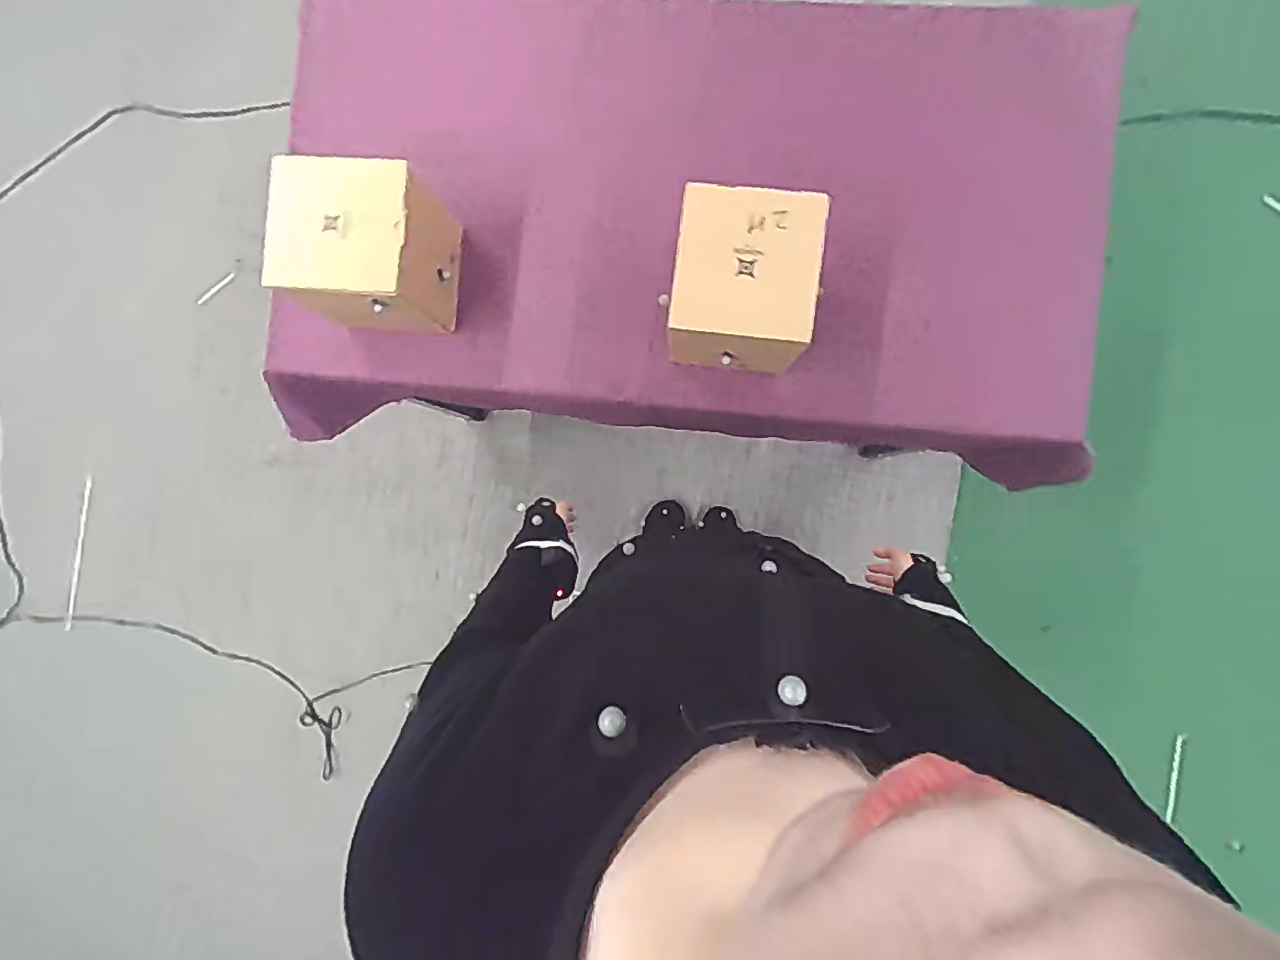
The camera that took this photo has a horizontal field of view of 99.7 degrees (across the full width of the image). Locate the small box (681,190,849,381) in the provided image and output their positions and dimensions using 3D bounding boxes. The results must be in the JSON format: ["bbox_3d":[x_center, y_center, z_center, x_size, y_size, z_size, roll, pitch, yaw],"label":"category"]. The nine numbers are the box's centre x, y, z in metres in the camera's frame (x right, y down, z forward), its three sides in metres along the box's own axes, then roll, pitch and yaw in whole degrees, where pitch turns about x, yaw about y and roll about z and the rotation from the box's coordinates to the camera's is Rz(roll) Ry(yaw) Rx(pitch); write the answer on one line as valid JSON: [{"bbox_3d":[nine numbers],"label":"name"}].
[{"bbox_3d":[0.152,-0.238,0.704,0.168,0.176,0.179,11,89,5],"label":"small box"}]
